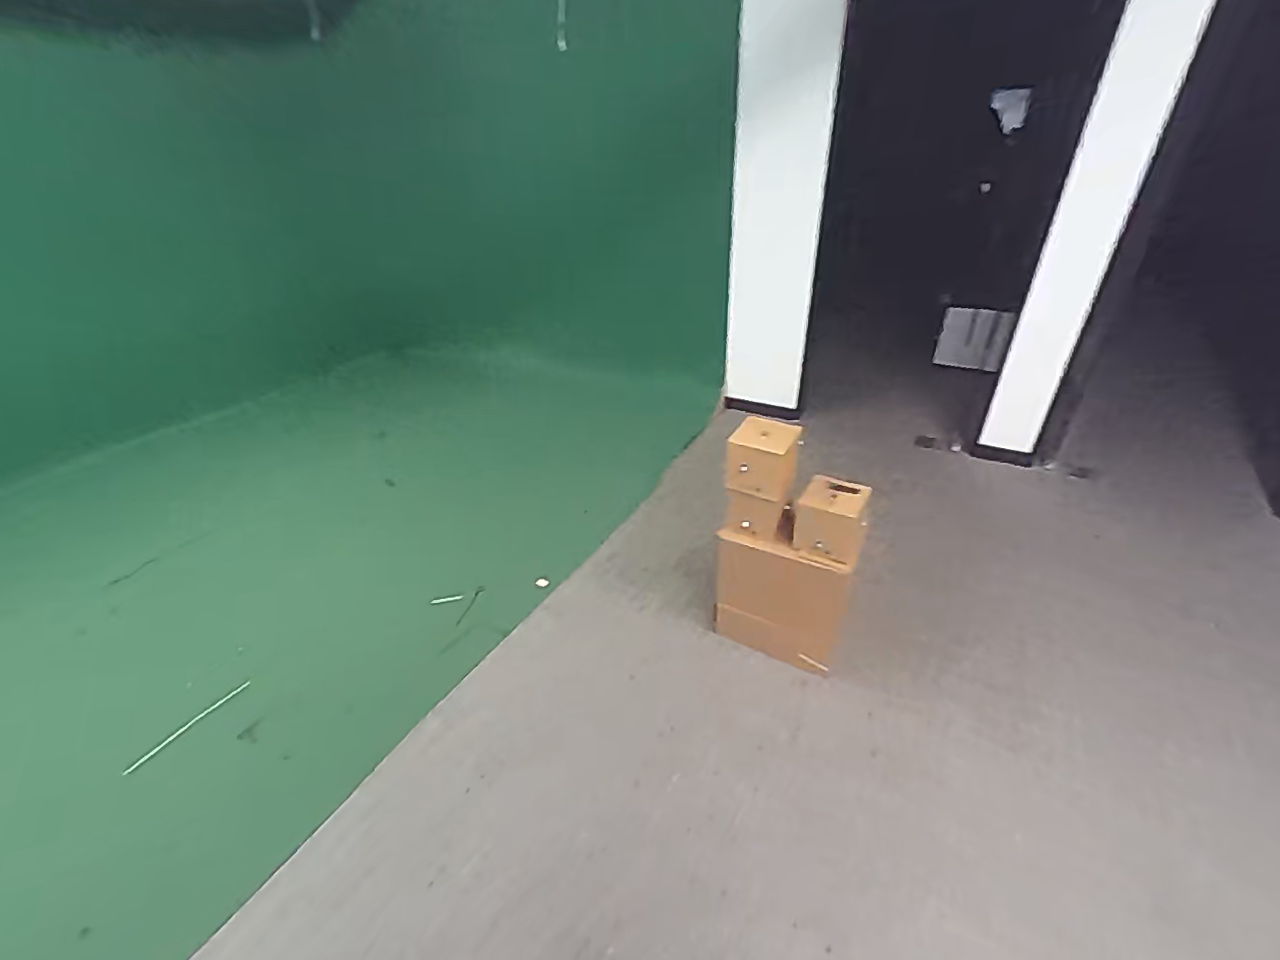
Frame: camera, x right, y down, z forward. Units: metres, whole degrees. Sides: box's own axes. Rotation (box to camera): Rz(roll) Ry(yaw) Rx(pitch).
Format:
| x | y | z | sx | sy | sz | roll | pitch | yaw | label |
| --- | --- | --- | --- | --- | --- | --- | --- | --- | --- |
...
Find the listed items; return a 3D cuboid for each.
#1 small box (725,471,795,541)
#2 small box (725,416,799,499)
| x | y | z | sx | sy | sz | roll | pitch | yaw | label |
| --- | --- | --- | --- | --- | --- | --- | --- | --- | --- |
| 0.374 | 0.062 | 1.706 | 0.168 | 0.176 | 0.179 | 18 | 41 | 26 | small box |
| 0.361 | -0.066 | 1.607 | 0.168 | 0.176 | 0.179 | 17 | 39 | 26 | small box |
